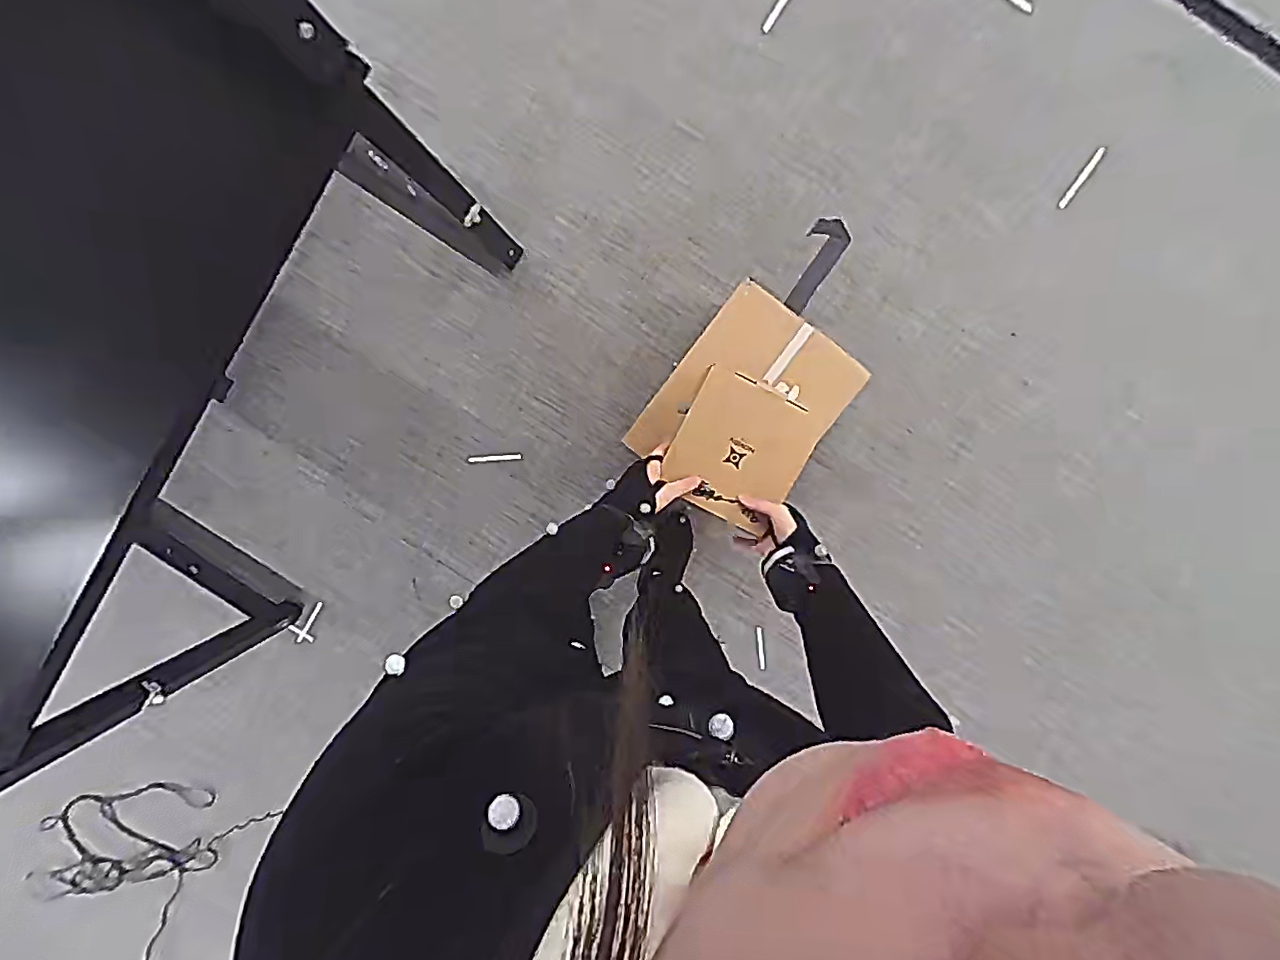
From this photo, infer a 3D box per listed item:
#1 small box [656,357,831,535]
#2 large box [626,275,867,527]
[{"bbox_3d":[0.131,-0.053,0.758,0.168,0.176,0.179,27,99,-2],"label":"small box"},{"bbox_3d":[0.211,-0.163,1.208,0.320,0.320,0.408,37,97,-3],"label":"large box"}]
